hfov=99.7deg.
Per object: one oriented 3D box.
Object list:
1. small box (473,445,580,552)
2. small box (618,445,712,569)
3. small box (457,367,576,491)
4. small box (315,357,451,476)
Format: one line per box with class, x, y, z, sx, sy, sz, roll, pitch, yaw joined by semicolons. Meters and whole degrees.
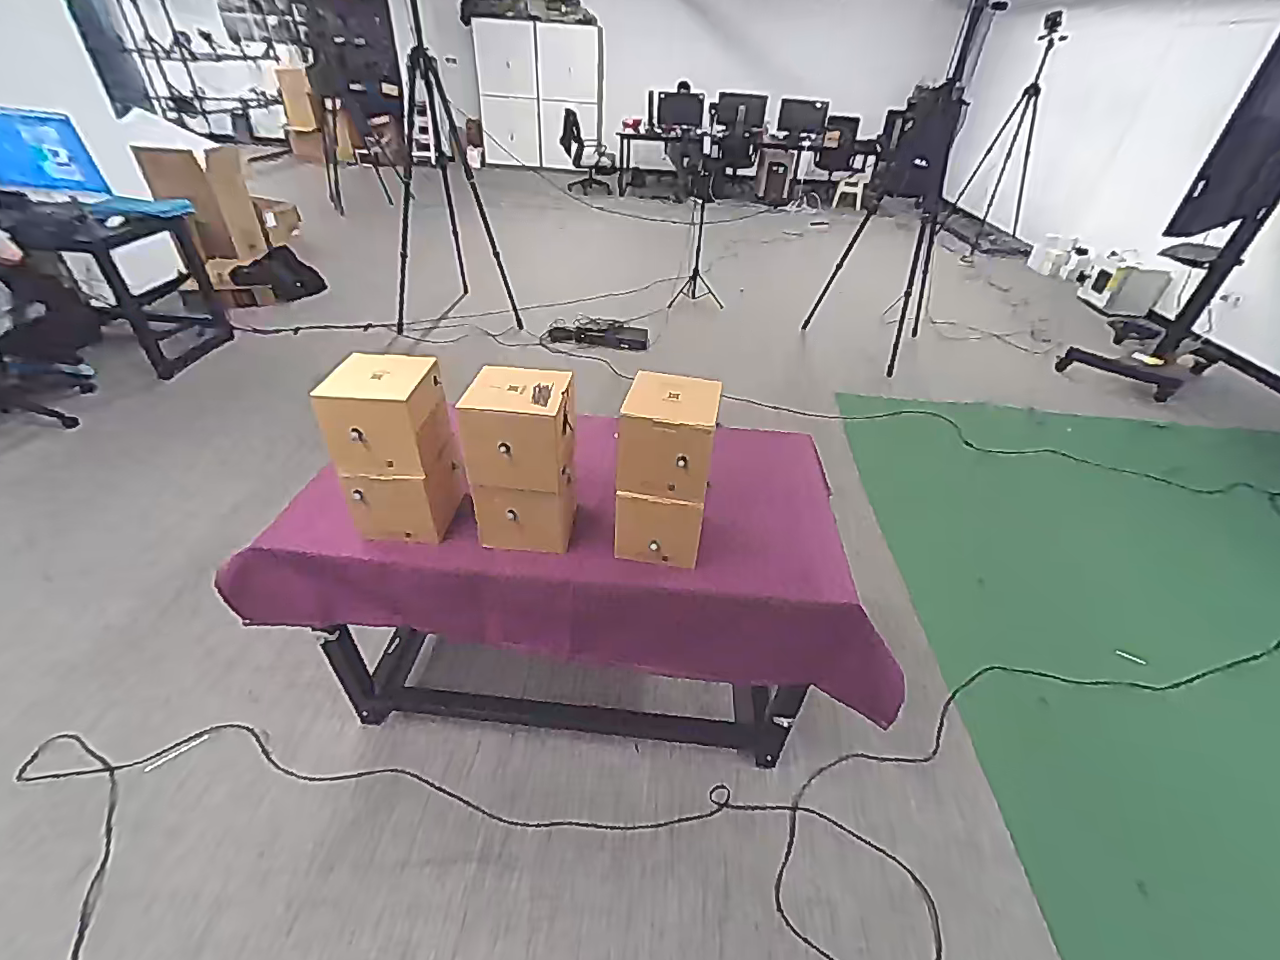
small box;-0.225;0.033;1.120;0.179;0.176;0.168;4;38;2
small box;0.050;0.053;1.108;0.168;0.176;0.179;8;37;7
small box;-0.219;-0.095;1.016;0.179;0.176;0.168;5;37;3
small box;-0.477;-0.122;1.037;0.168;0.176;0.179;3;36;-1
